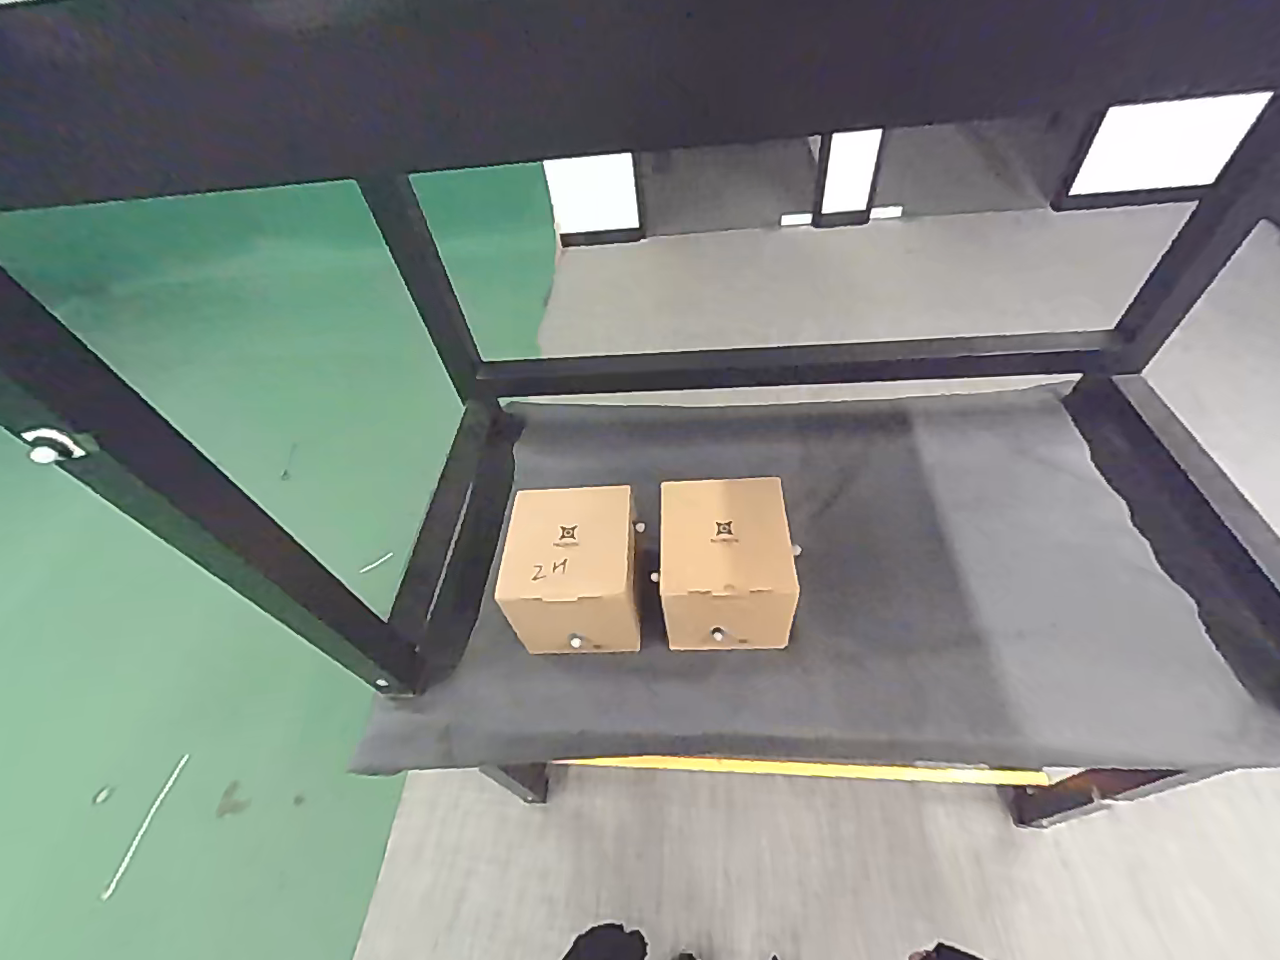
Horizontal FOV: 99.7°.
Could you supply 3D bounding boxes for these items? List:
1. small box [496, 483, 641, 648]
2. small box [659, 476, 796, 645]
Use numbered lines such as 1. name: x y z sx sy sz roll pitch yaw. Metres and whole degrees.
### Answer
1. small box: -0.089 0.125 0.777 0.168 0.176 0.179 -3 50 5
2. small box: 0.115 0.115 0.761 0.168 0.176 0.179 -3 50 6
